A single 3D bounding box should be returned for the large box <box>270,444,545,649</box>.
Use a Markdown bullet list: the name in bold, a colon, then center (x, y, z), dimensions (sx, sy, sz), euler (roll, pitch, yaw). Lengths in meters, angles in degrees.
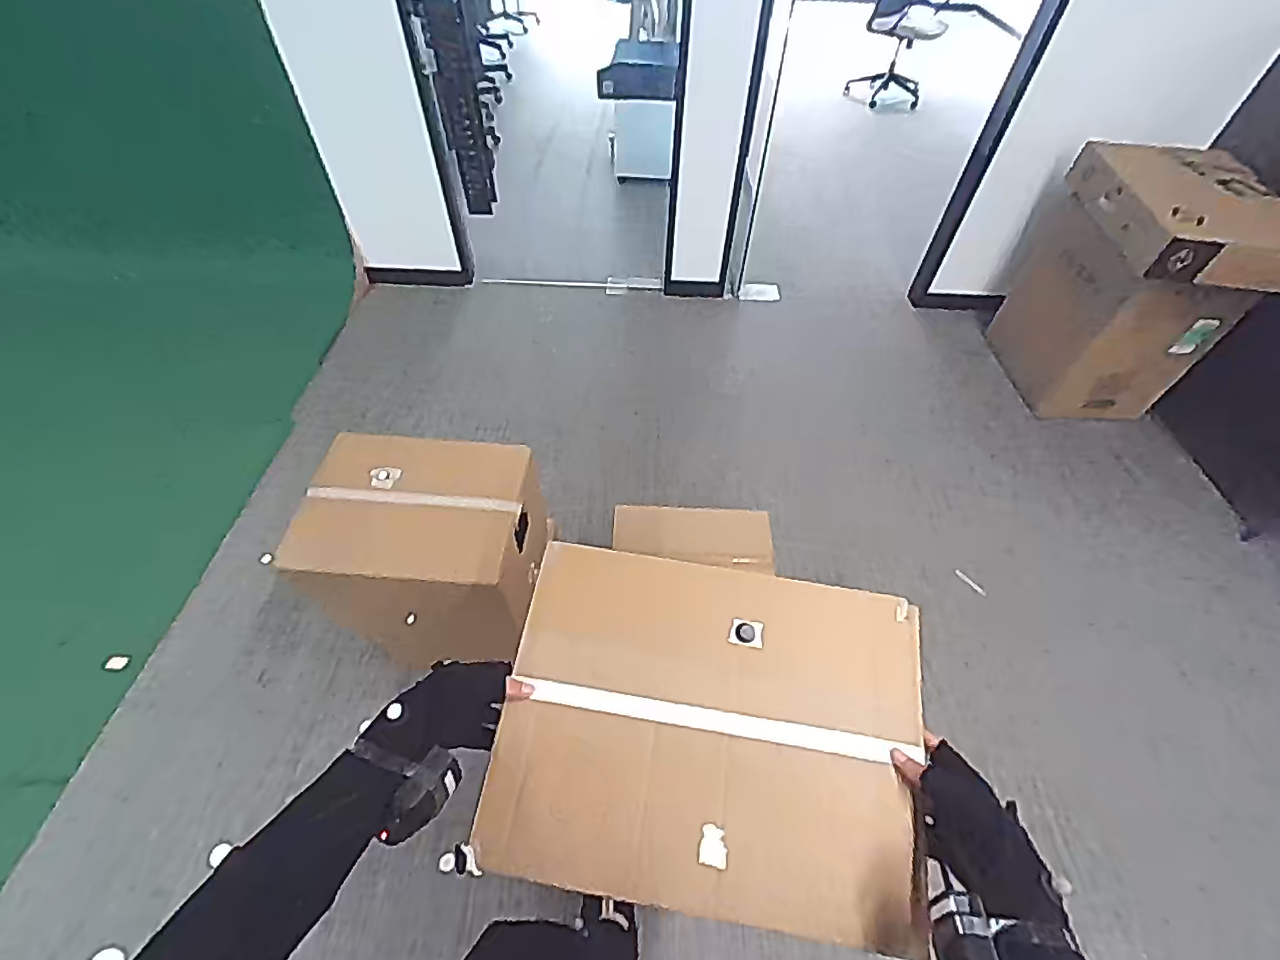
- **large box**: center (-0.435, 0.148, 1.137), dimensions (0.408, 0.320, 0.320), euler (4, 52, 2)
